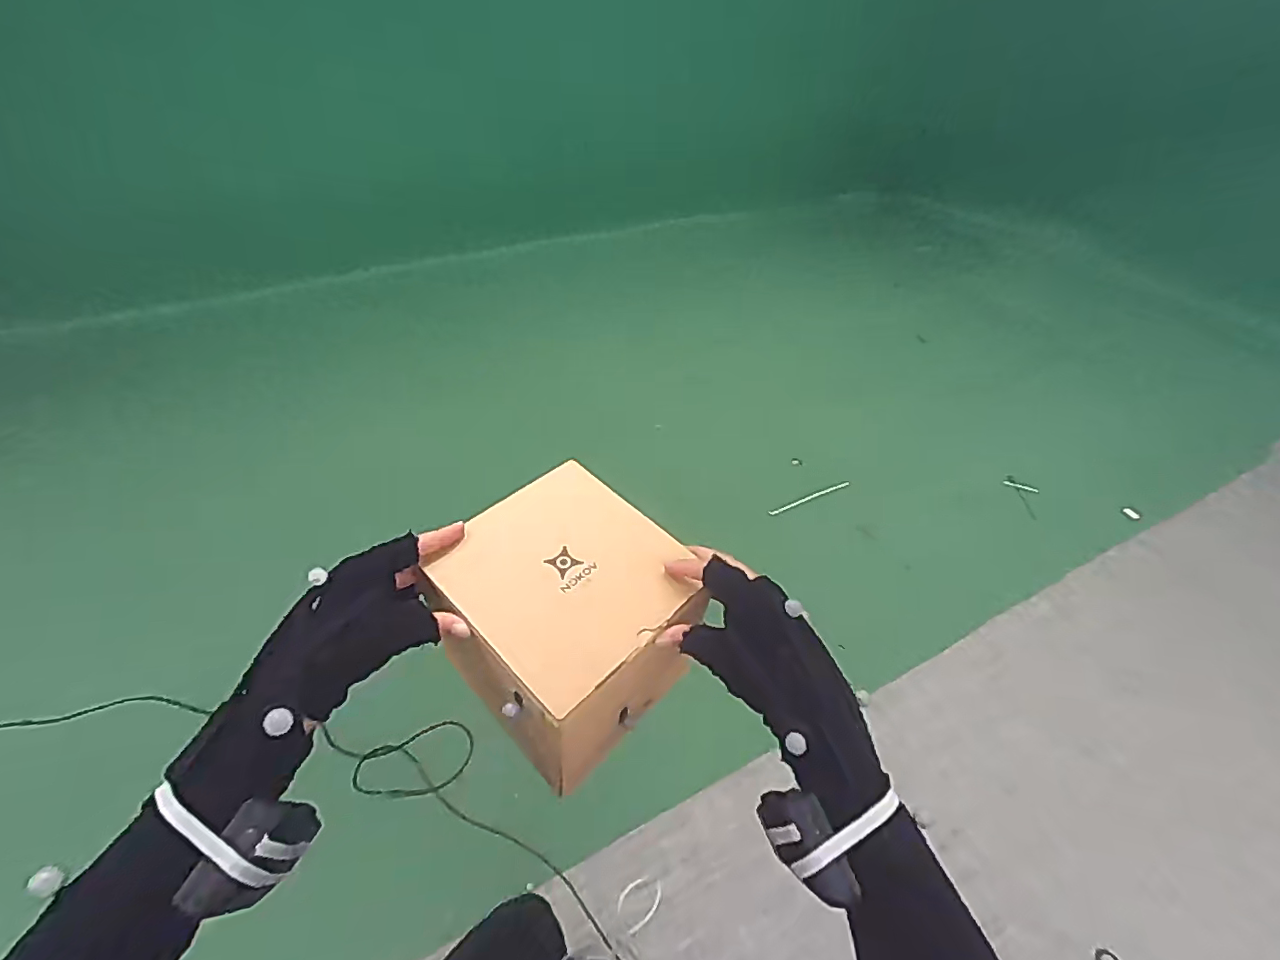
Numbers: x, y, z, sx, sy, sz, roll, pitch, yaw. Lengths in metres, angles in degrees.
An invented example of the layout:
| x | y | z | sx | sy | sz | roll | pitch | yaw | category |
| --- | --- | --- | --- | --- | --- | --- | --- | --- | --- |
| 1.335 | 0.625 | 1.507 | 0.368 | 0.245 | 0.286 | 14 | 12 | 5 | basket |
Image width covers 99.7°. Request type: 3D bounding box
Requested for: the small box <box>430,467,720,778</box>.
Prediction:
| x | y | z | sx | sy | sz | roll | pitch | yaw | category |
| --- | --- | --- | --- | --- | --- | --- | --- | --- | --- |
| -0.060 | 0.126 | 0.487 | 0.179 | 0.176 | 0.168 | 38 | 52 | 25 | small box |
